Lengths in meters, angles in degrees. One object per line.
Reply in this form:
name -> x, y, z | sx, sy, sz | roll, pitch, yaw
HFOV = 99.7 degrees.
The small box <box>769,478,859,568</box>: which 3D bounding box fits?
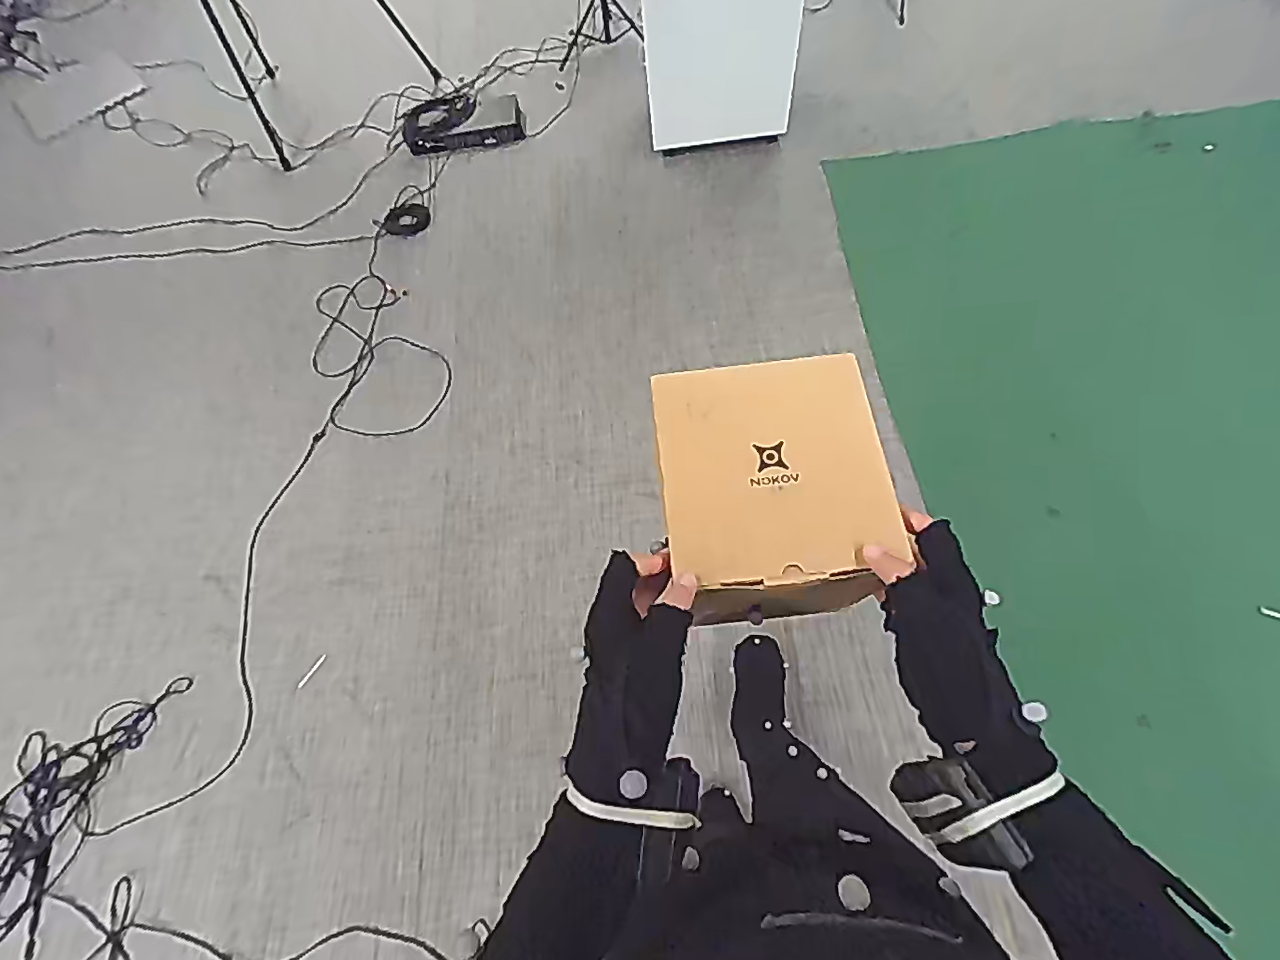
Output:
small box -> 0.431, 0.117, 1.367 | 0.168, 0.176, 0.179 | -8, 65, 3
